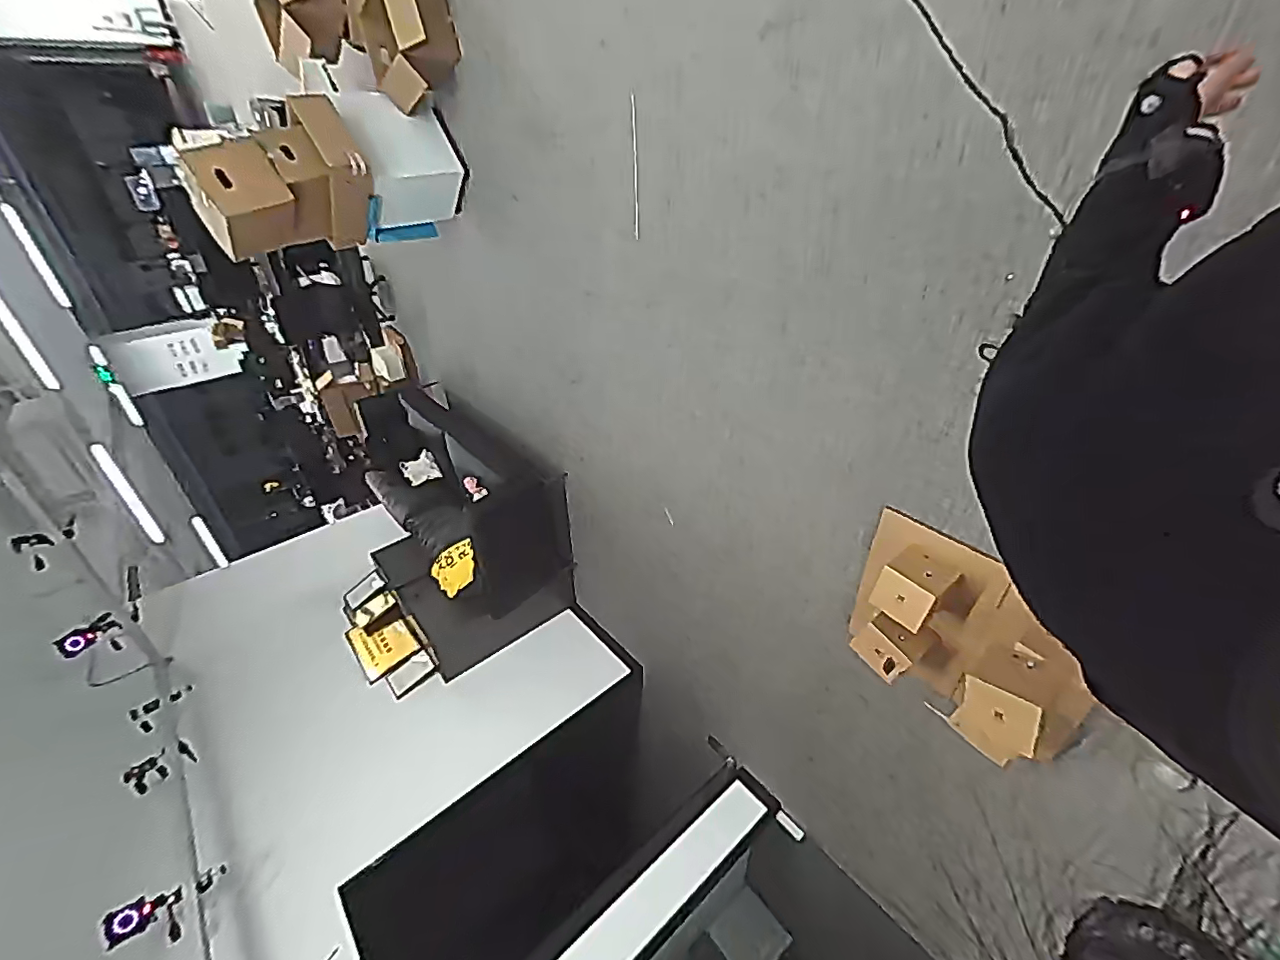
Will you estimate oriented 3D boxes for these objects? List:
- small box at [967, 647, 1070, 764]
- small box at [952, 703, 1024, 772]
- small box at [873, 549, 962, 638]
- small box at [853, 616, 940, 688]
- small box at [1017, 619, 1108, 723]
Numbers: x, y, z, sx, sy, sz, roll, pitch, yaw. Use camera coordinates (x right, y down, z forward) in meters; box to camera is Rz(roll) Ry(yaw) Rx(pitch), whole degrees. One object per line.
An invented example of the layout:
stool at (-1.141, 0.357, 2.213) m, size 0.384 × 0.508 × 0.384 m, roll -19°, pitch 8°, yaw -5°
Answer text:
small box at (0.968, 0.569, 1.384) m, size 0.168 × 0.176 × 0.179 m, roll 20°, pitch 128°, yaw 48°
small box at (1.091, 0.723, 1.624) m, size 0.179 × 0.176 × 0.168 m, roll 39°, pitch 140°, yaw 35°
small box at (0.866, 0.346, 1.682) m, size 0.168 × 0.176 × 0.179 m, roll 37°, pitch 140°, yaw 37°
small box at (0.868, 0.559, 1.826) m, size 0.179 × 0.176 × 0.168 m, roll 47°, pitch 145°, yaw 29°
small box at (1.106, 0.508, 1.450) m, size 0.168 × 0.176 × 0.179 m, roll 38°, pitch 140°, yaw 36°
